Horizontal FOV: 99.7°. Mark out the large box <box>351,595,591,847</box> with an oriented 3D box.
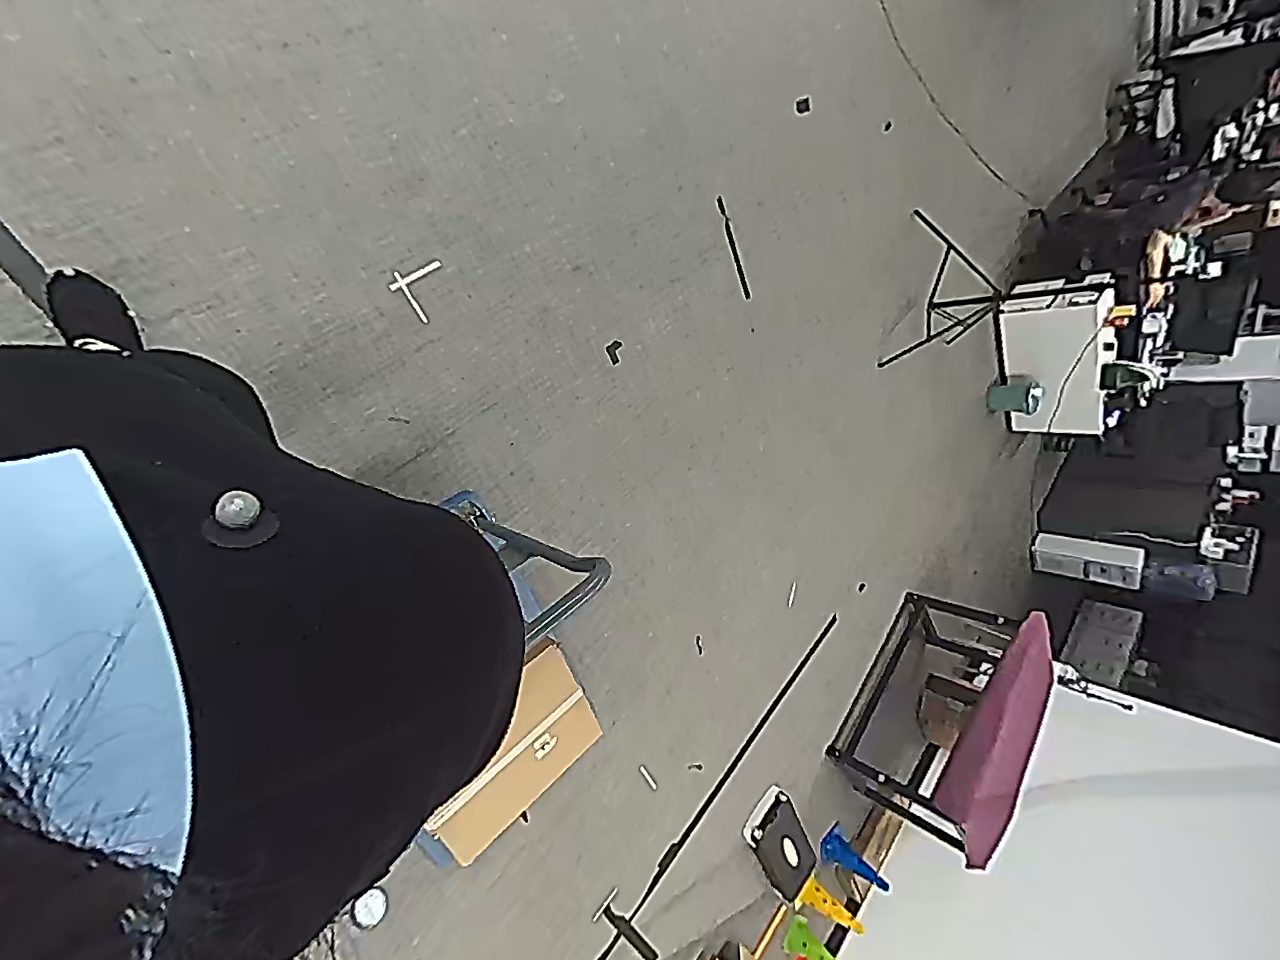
[{"bbox_3d":[-0.405,0.551,1.318,0.408,0.320,0.320,-36,118,-31],"label":"large box"}]
